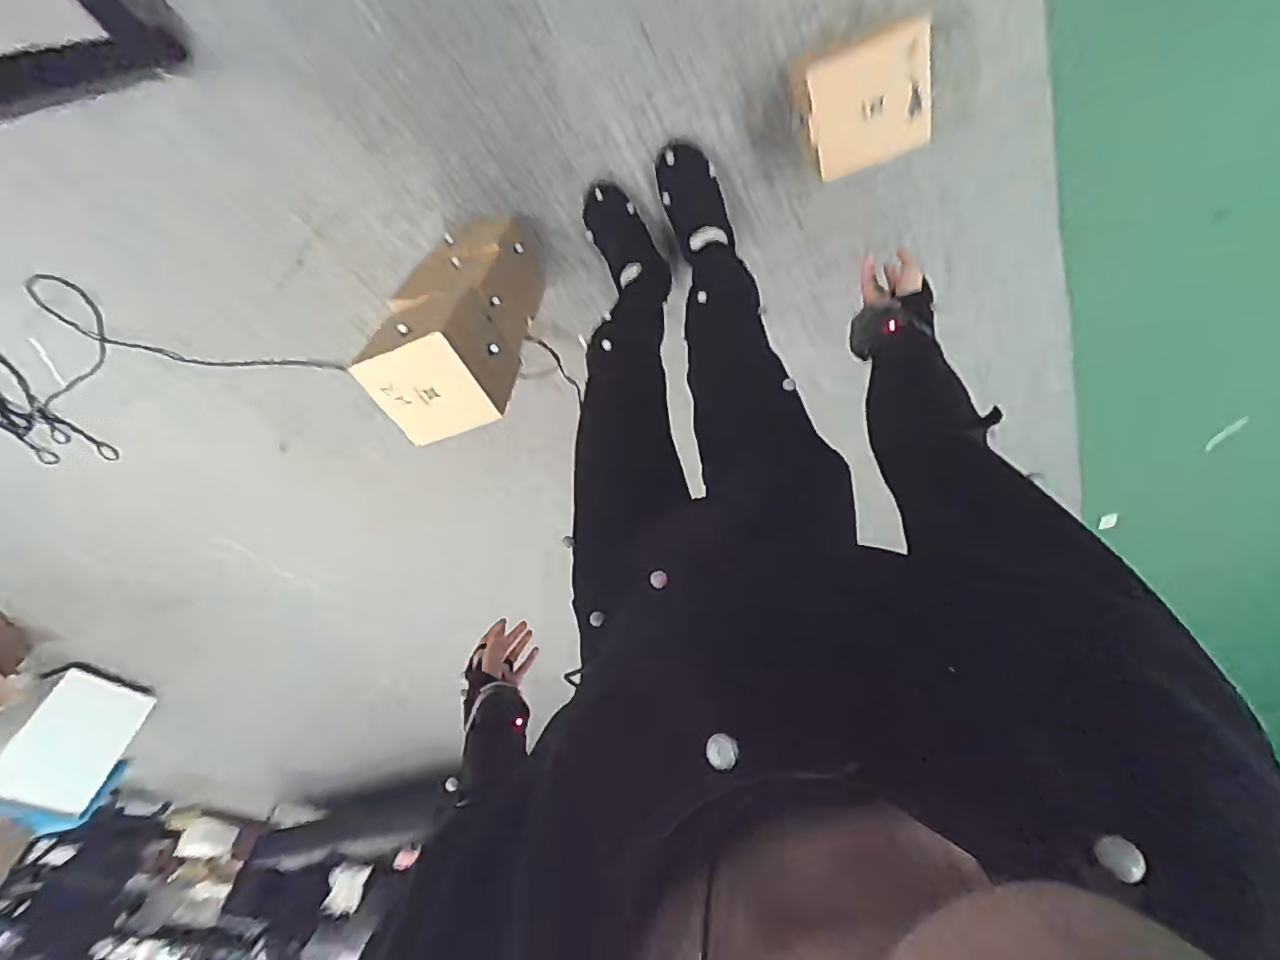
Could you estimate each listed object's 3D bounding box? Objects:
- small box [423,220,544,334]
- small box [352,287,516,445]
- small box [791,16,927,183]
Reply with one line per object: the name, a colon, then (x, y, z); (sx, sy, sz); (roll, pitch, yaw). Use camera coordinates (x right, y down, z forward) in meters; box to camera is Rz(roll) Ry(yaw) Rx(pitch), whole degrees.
small box: (-0.314, -0.418, 1.123); (0.168, 0.176, 0.179); (-9, 134, 12)
small box: (-0.321, -0.189, 0.889); (0.179, 0.176, 0.168); (-15, 130, 17)
small box: (0.356, -0.630, 0.897); (0.179, 0.176, 0.168); (-14, 132, 16)
